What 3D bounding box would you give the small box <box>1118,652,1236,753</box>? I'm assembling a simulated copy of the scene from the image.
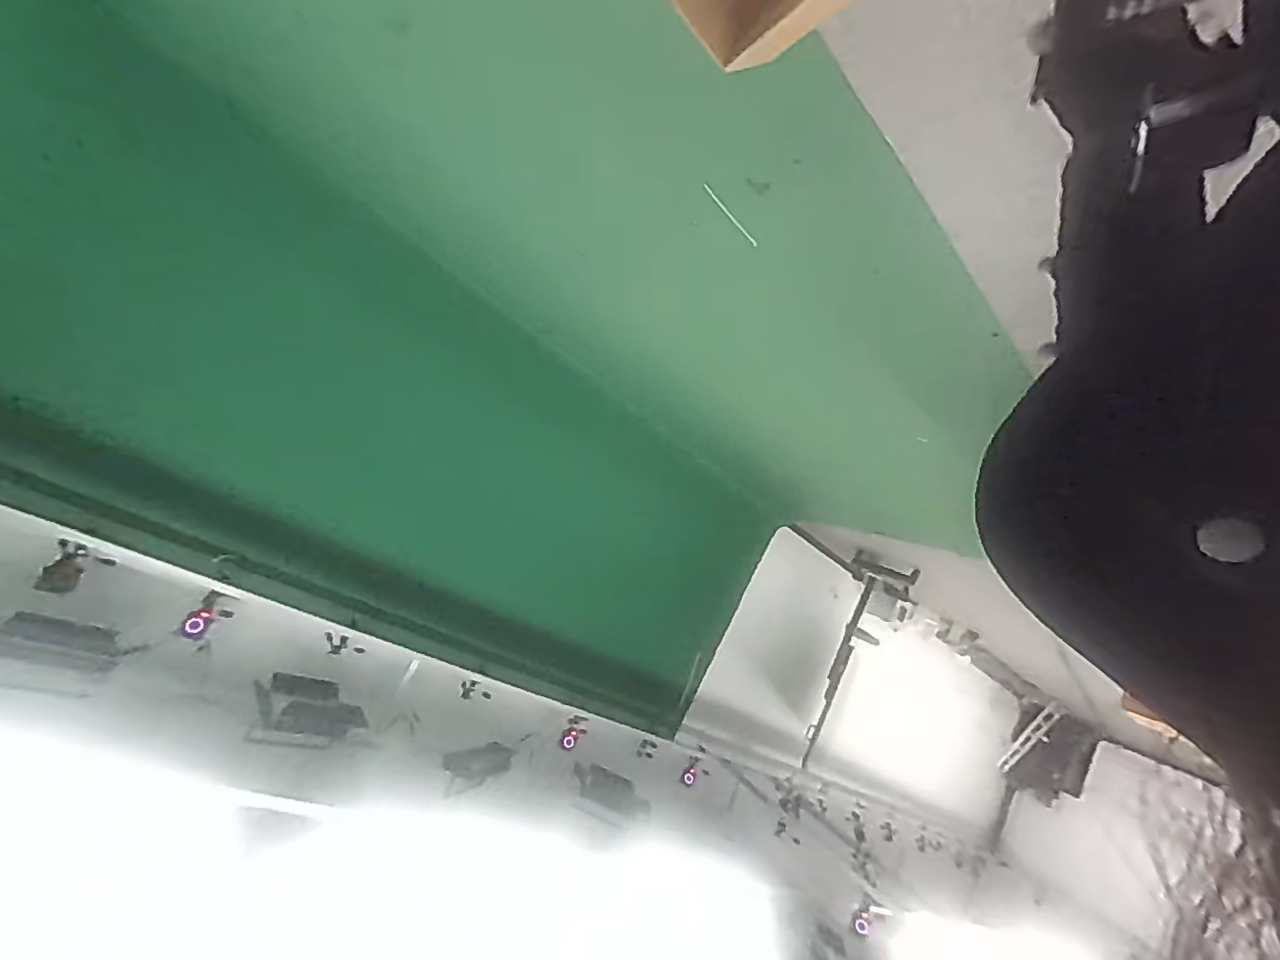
[{"bbox_3d":[1.407,0.573,1.413,0.168,0.176,0.179,32,169,-27],"label":"small box"}]
